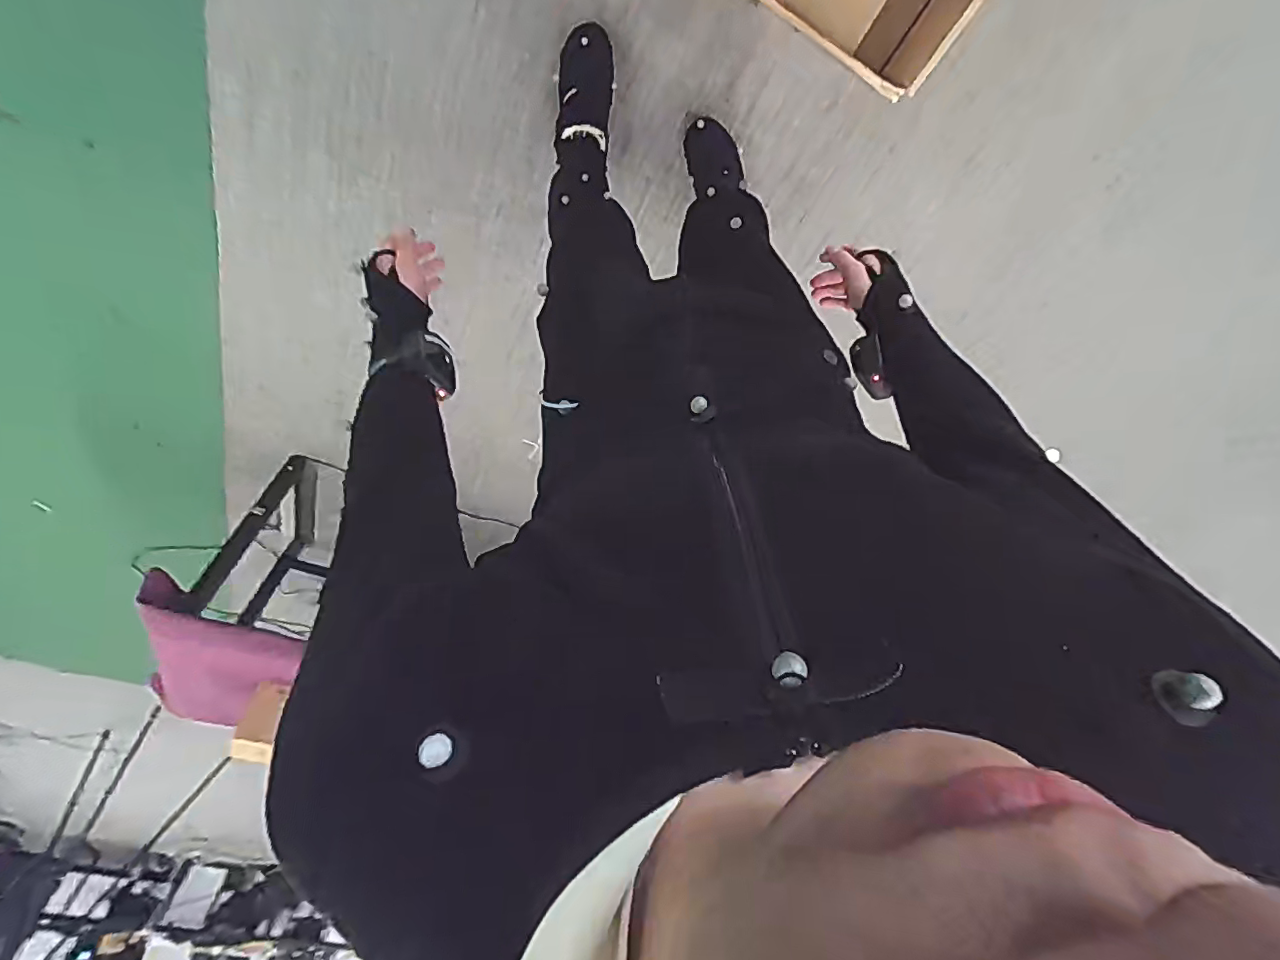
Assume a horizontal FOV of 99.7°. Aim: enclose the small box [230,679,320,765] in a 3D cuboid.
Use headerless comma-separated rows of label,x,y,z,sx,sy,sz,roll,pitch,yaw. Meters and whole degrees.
small box,-1.088,0.725,1.618,0.168,0.176,0.179,23,130,-18
